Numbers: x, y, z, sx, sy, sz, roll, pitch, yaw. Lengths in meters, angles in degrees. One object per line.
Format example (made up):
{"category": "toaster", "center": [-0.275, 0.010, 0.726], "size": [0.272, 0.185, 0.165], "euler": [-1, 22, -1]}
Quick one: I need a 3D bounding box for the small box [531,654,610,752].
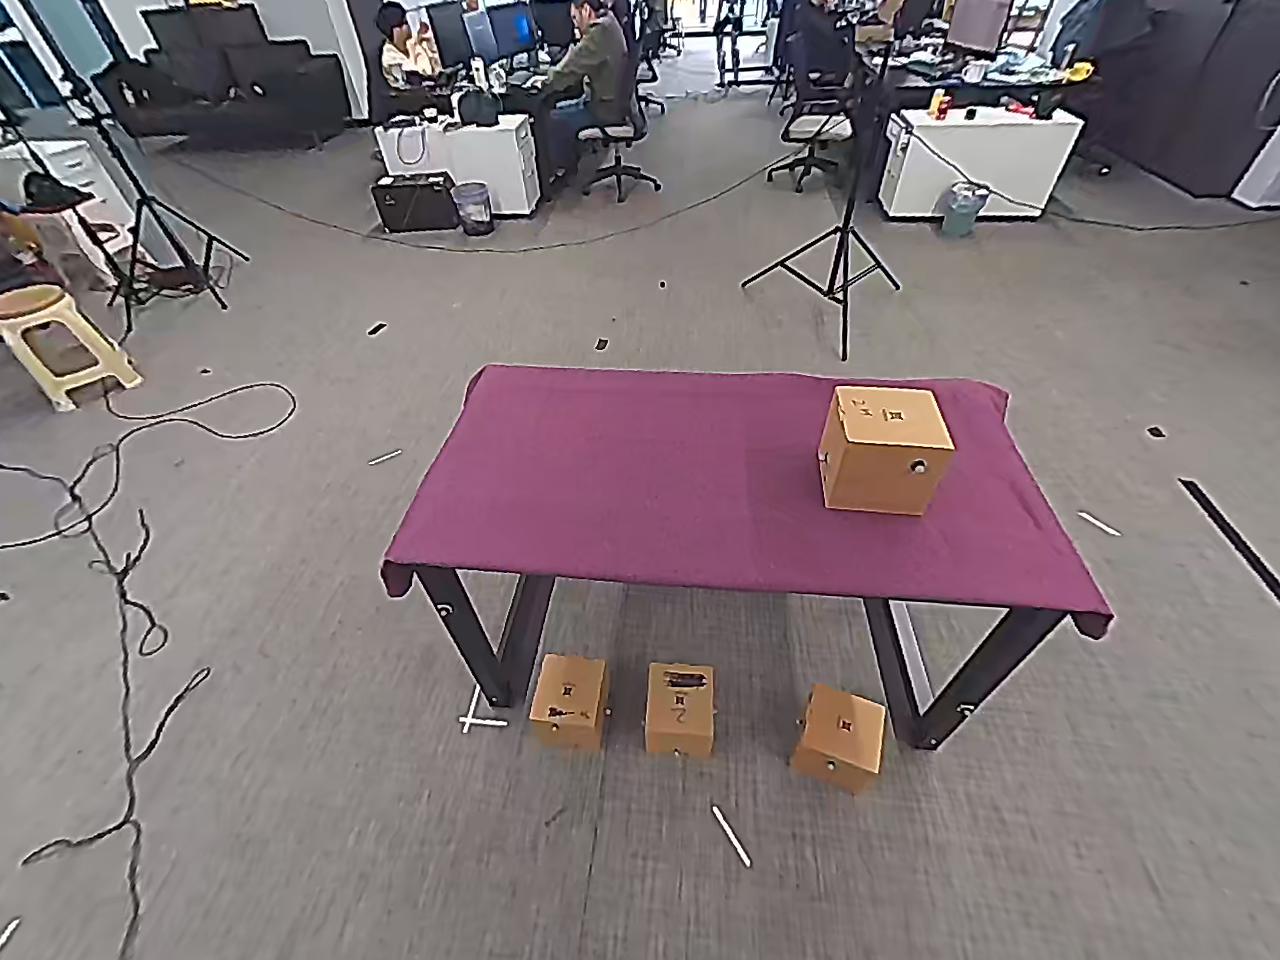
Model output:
{"category": "small box", "center": [-0.174, 0.587, 1.427], "size": [0.168, 0.176, 0.179], "euler": [4, 44, 7]}

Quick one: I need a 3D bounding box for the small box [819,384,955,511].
{"category": "small box", "center": [0.446, -0.058, 1.006], "size": [0.179, 0.176, 0.168], "euler": [4, 45, 7]}

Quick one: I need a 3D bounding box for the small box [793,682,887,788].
{"category": "small box", "center": [0.492, 0.638, 1.343], "size": [0.179, 0.176, 0.168], "euler": [15, 48, 18]}
